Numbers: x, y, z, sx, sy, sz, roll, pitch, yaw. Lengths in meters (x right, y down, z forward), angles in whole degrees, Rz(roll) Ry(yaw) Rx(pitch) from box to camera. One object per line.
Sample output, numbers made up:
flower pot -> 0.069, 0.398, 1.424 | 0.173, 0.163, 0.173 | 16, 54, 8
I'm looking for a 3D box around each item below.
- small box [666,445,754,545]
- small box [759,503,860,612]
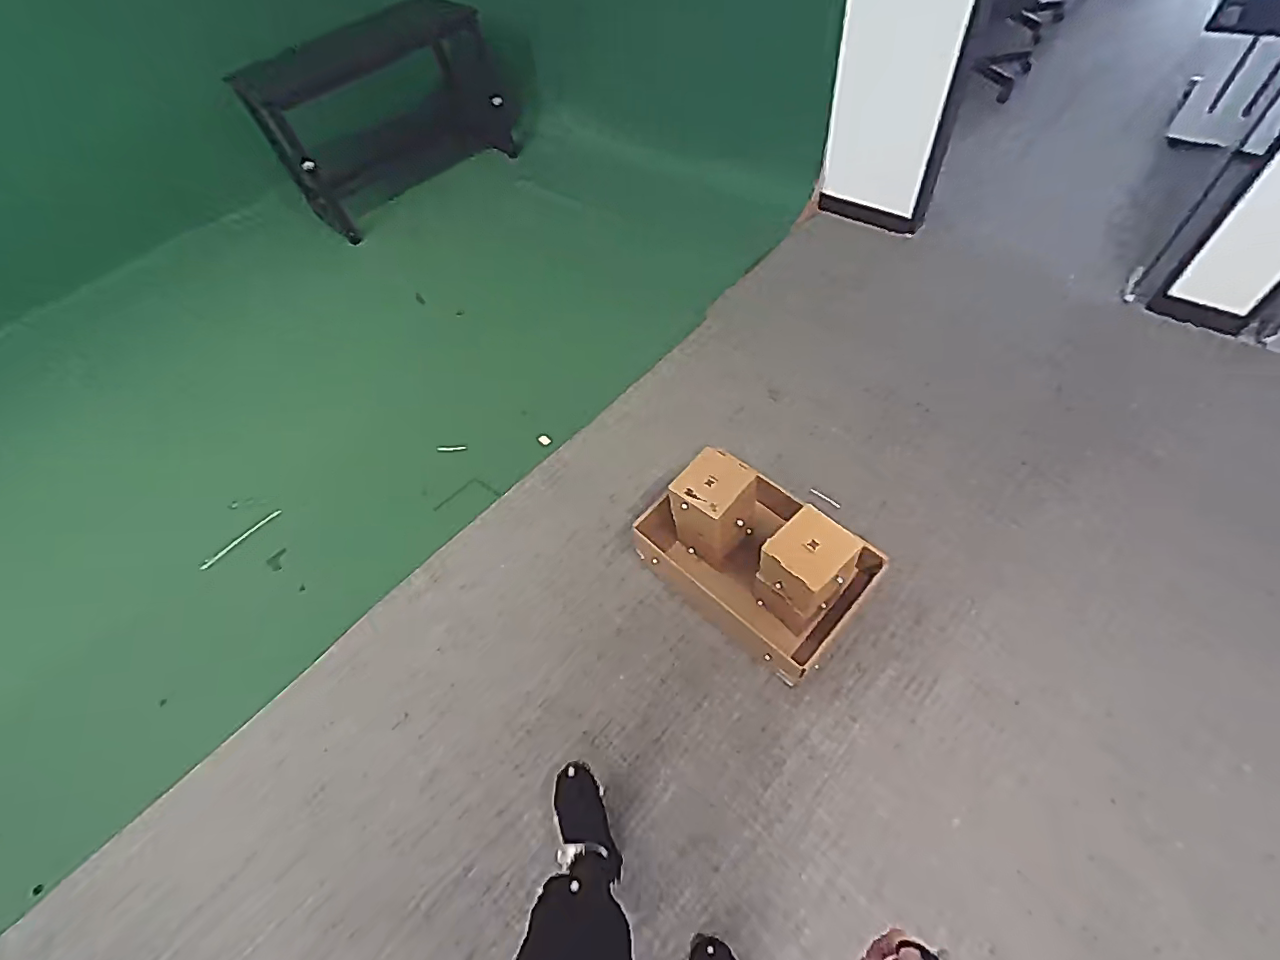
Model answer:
small box -> 0.192, 0.043, 1.485 | 0.168, 0.176, 0.179 | 34, 66, 28
small box -> 0.412, 0.197, 1.352 | 0.179, 0.176, 0.168 | -40, 60, -16
